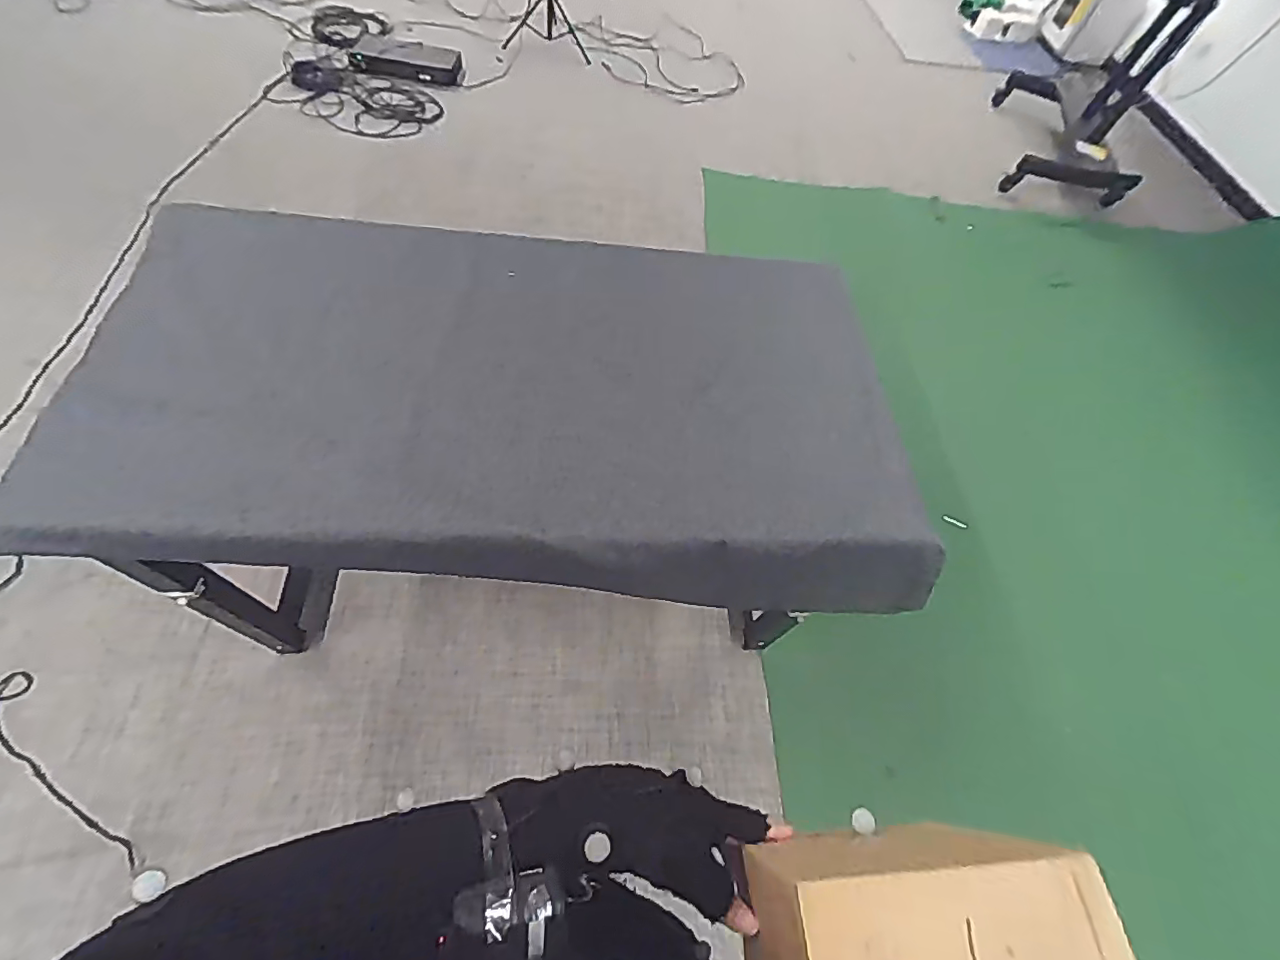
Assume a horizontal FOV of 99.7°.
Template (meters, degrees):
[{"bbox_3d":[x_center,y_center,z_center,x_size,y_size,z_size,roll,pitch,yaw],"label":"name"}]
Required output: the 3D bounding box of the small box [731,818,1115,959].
[{"bbox_3d":[0.158,0.318,0.325,0.168,0.176,0.179,-1,62,-4],"label":"small box"}]
